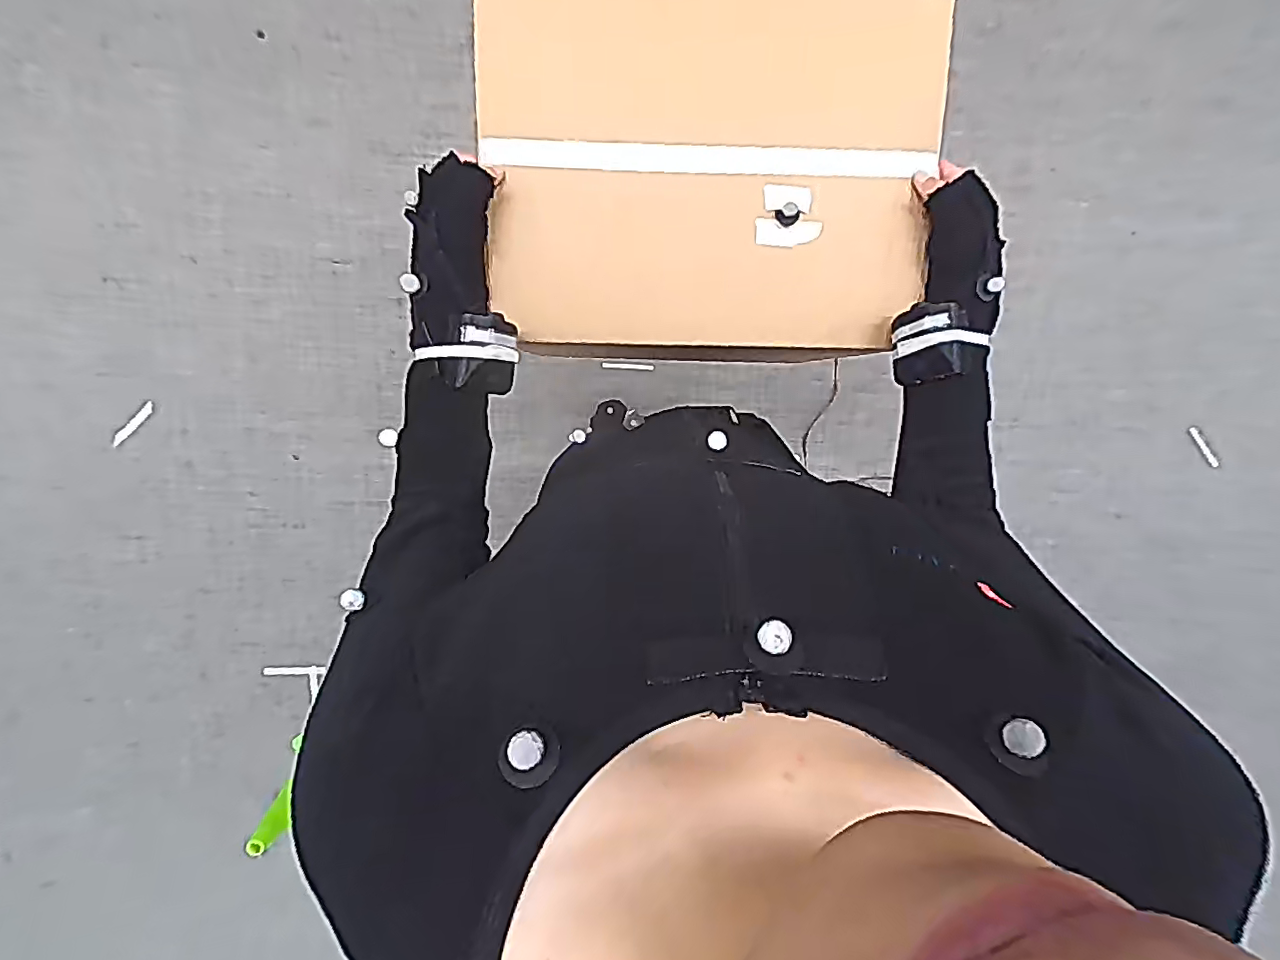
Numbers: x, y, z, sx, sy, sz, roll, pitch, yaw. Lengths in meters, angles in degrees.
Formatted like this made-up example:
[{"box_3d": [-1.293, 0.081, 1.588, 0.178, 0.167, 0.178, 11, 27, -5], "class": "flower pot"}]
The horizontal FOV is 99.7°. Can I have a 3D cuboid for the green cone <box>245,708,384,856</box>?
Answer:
[{"box_3d": [-0.873, 0.805, 1.401, 0.202, 0.368, 0.200, -35, 96, 5], "class": "green cone"}]

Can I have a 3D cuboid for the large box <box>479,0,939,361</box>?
[{"box_3d": [0.052, -0.305, 0.628, 0.408, 0.320, 0.320, 0, 100, -4], "class": "large box"}]
